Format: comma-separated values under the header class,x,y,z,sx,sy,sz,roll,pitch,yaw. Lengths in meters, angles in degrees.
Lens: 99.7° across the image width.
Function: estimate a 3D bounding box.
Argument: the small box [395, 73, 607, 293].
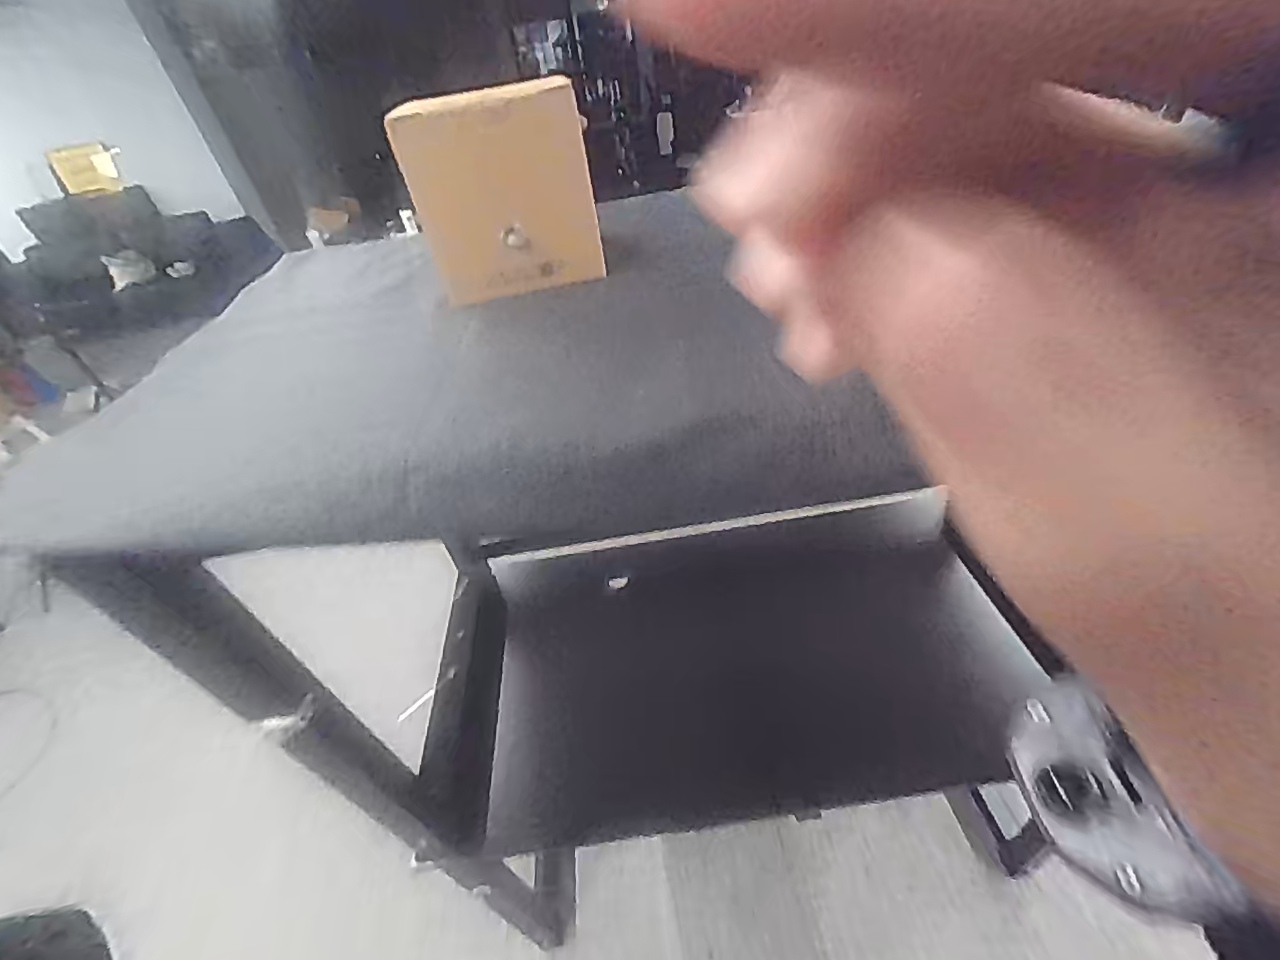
class,x,y,z,sx,sy,sz,roll,pitch,yaw
small box,-0.136,-0.320,0.583,0.168,0.176,0.179,-12,40,-3
